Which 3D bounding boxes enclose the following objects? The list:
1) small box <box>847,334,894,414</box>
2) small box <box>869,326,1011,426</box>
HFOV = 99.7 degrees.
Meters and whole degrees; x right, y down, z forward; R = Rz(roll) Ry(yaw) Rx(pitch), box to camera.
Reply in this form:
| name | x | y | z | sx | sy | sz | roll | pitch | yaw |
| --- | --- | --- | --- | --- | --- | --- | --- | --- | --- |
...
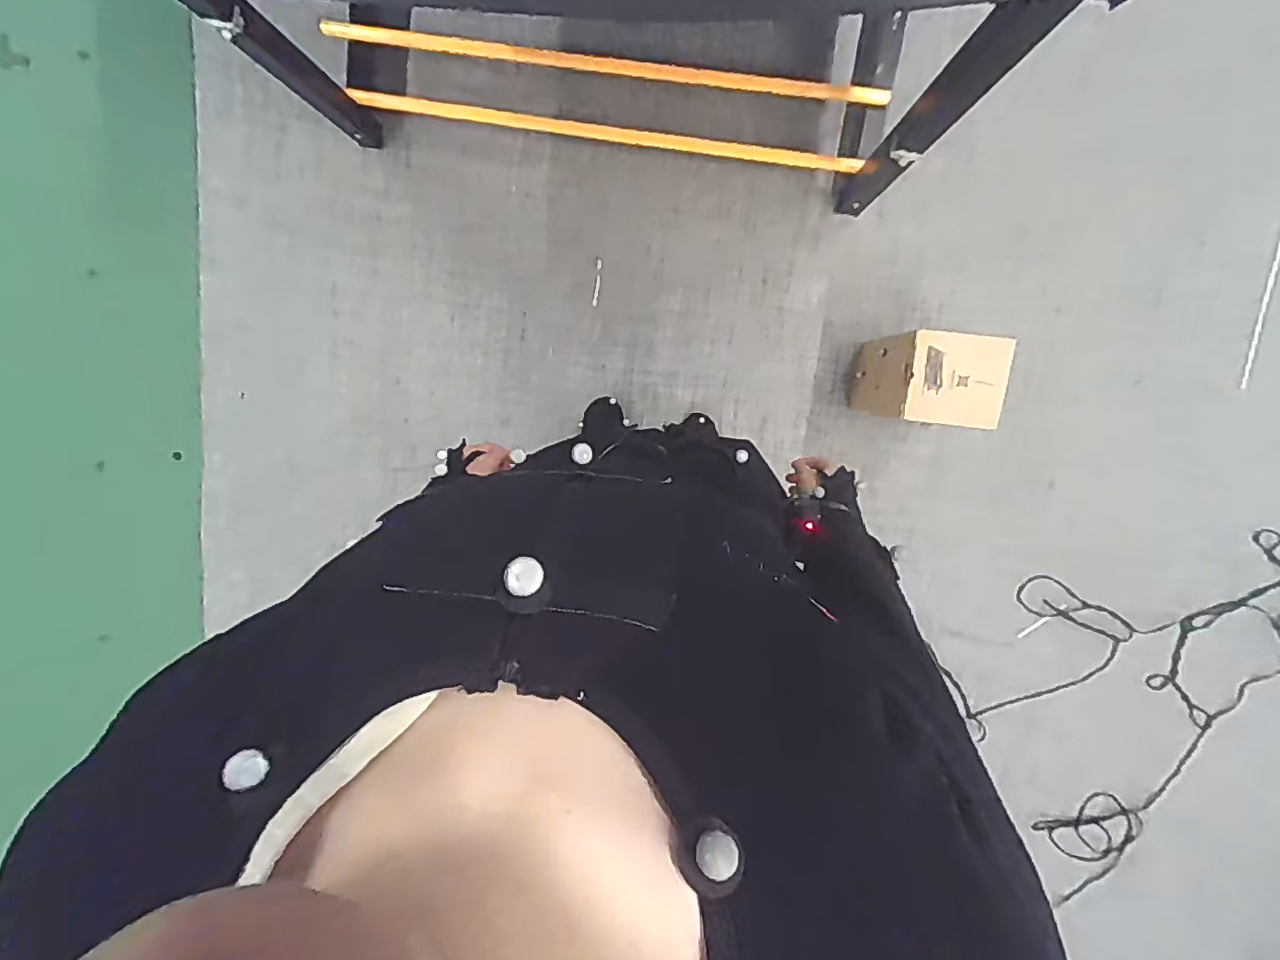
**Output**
| name | x | y | z | sx | sy | sz | roll | pitch | yaw |
| --- | --- | --- | --- | --- | --- | --- | --- | --- | --- |
| small box | 0.593 | -0.226 | 1.218 | 0.179 | 0.176 | 0.168 | 9 | 99 | 1 |
| small box | 0.572 | -0.199 | 1.056 | 0.179 | 0.176 | 0.168 | 7 | 99 | 1 |
